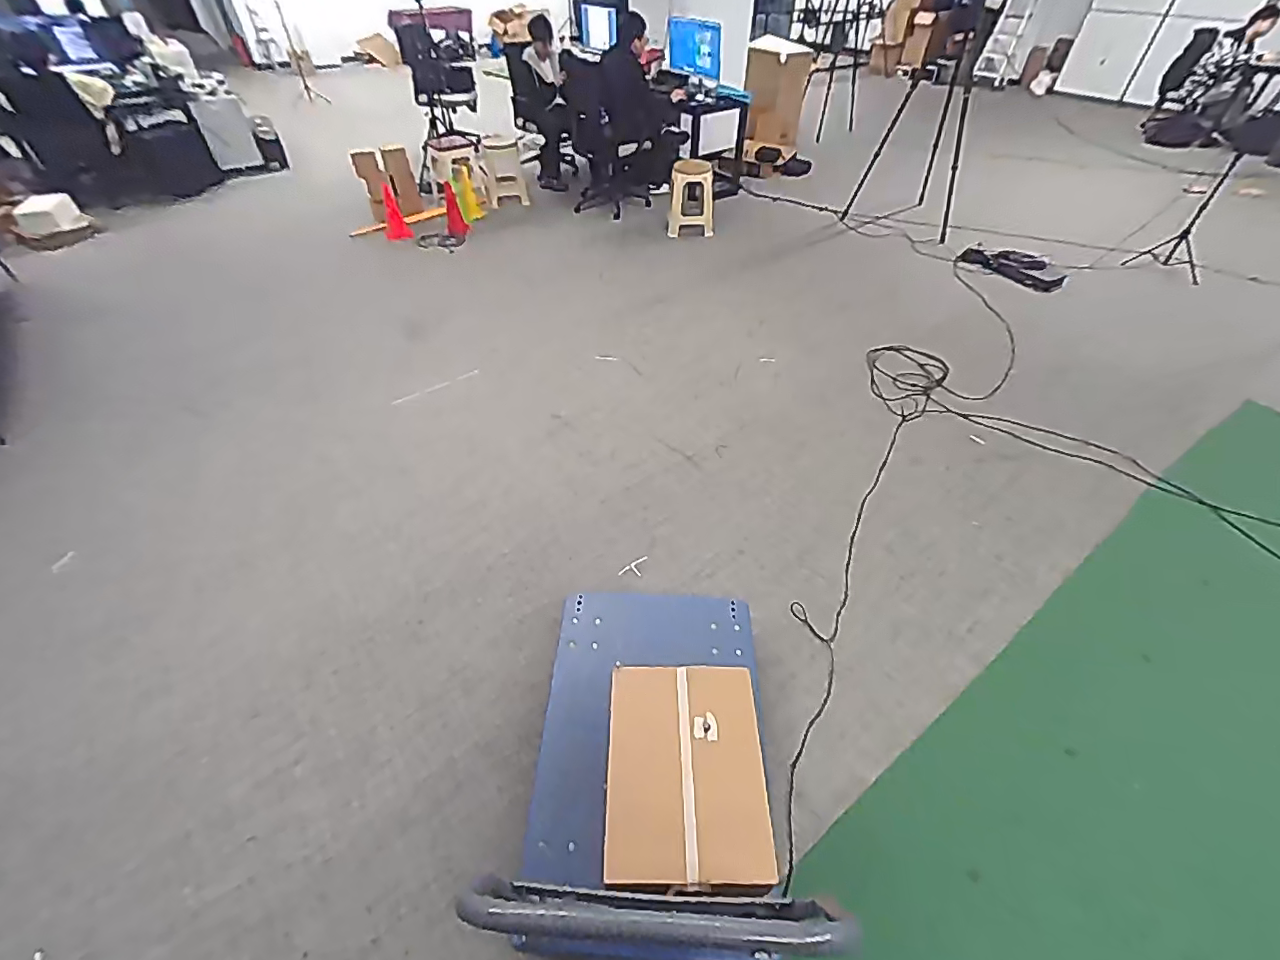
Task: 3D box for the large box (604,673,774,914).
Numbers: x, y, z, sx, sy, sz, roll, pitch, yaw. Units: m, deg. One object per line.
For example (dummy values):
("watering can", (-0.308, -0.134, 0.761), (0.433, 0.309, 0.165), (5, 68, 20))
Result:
("large box", (0.089, 0.694, 1.209), (0.320, 0.320, 0.408), (1, 44, 0))
